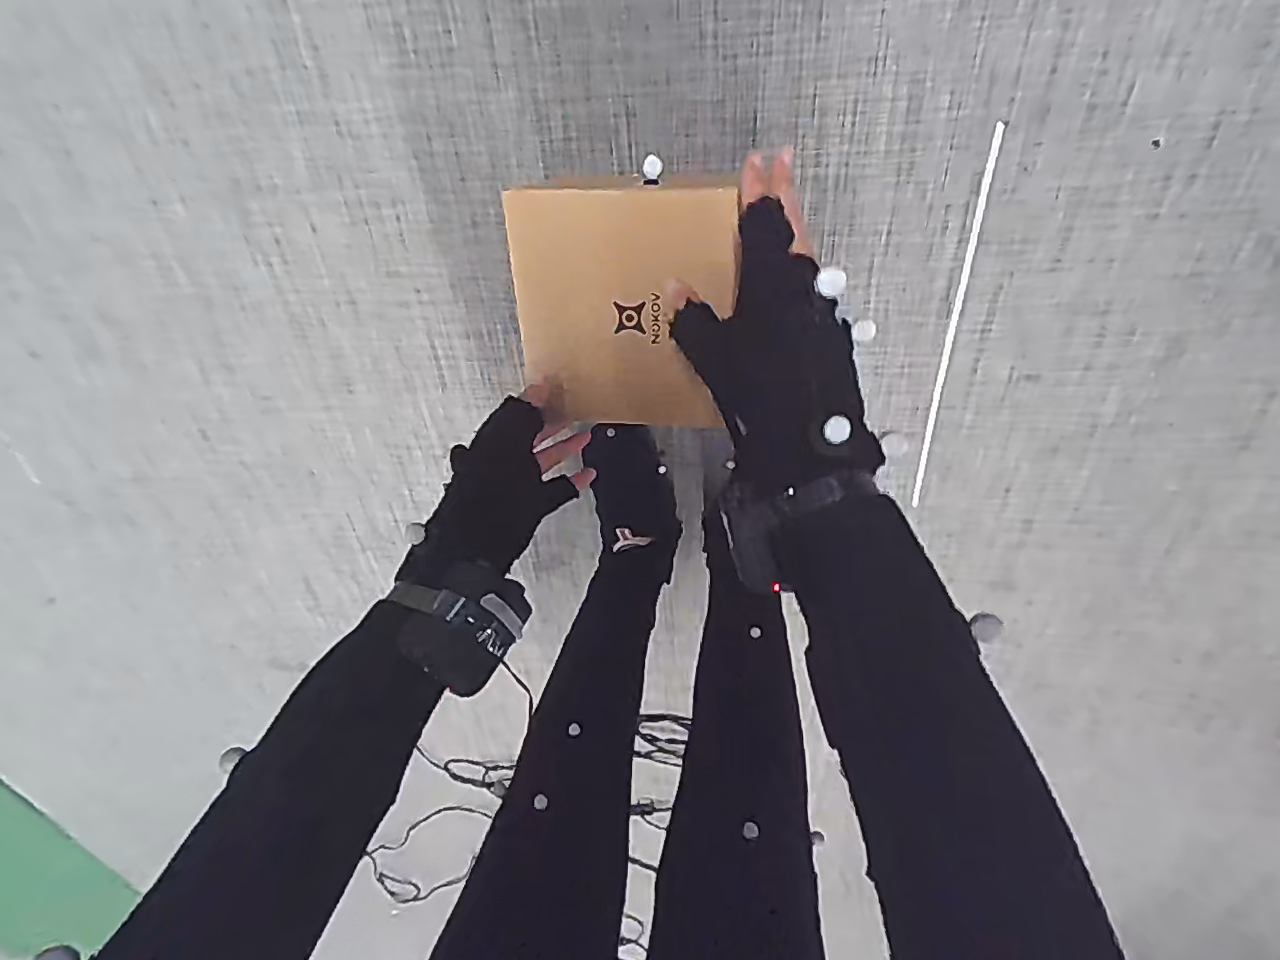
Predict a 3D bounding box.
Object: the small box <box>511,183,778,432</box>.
[{"bbox_3d":[0.010,-0.152,0.453,0.179,0.176,0.168,2,120,6],"label":"small box"}]
